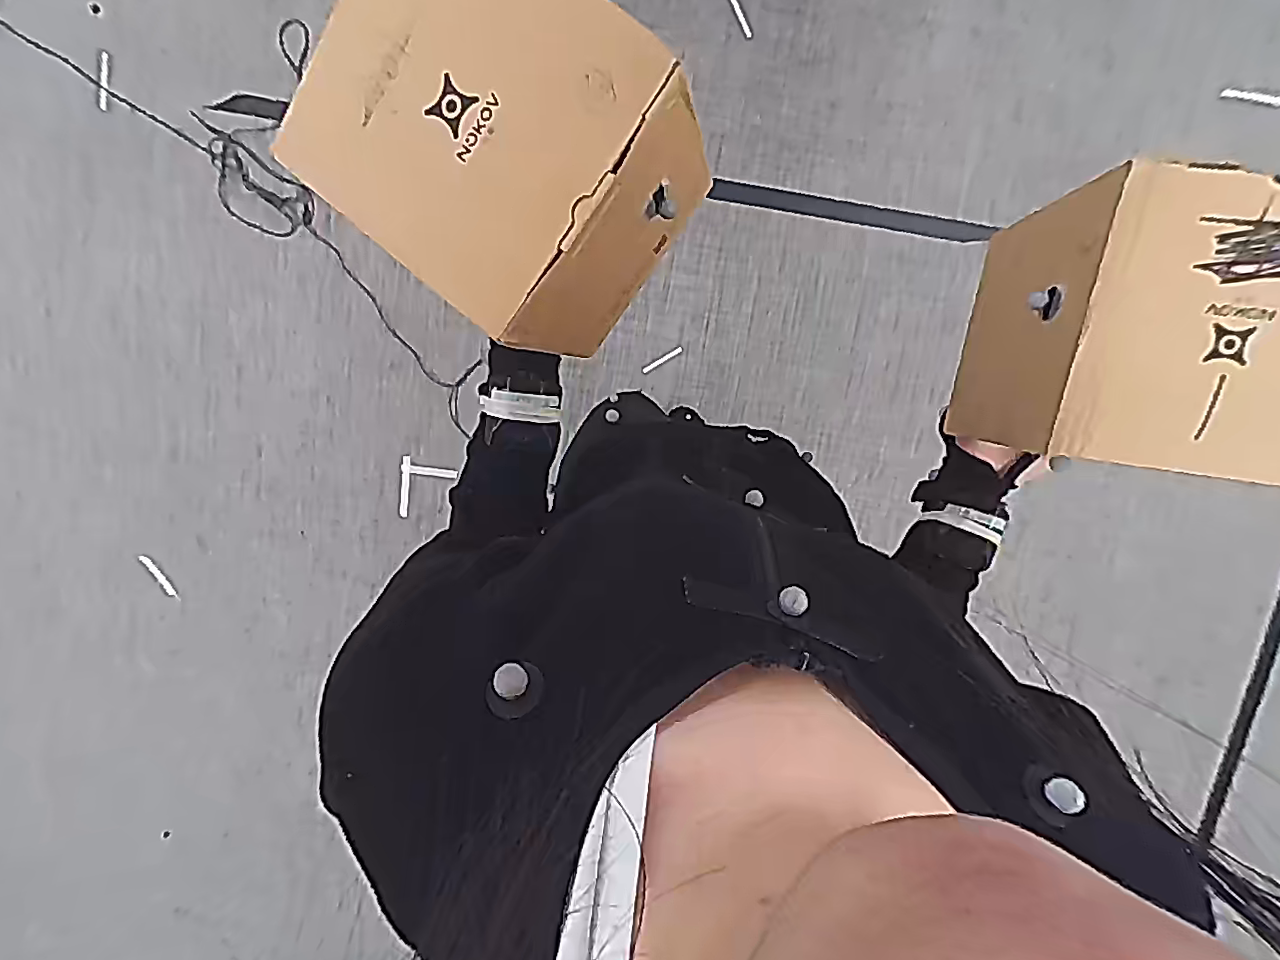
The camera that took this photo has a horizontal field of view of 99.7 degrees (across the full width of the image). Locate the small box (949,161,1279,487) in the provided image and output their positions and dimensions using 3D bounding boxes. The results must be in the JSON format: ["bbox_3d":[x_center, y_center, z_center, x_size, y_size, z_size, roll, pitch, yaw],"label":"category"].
[{"bbox_3d":[0.362,-0.103,0.402,0.168,0.176,0.179,9,101,7],"label":"small box"}]

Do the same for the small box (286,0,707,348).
[{"bbox_3d":[-0.072,-0.204,0.360,0.179,0.176,0.168,39,104,4],"label":"small box"}]
